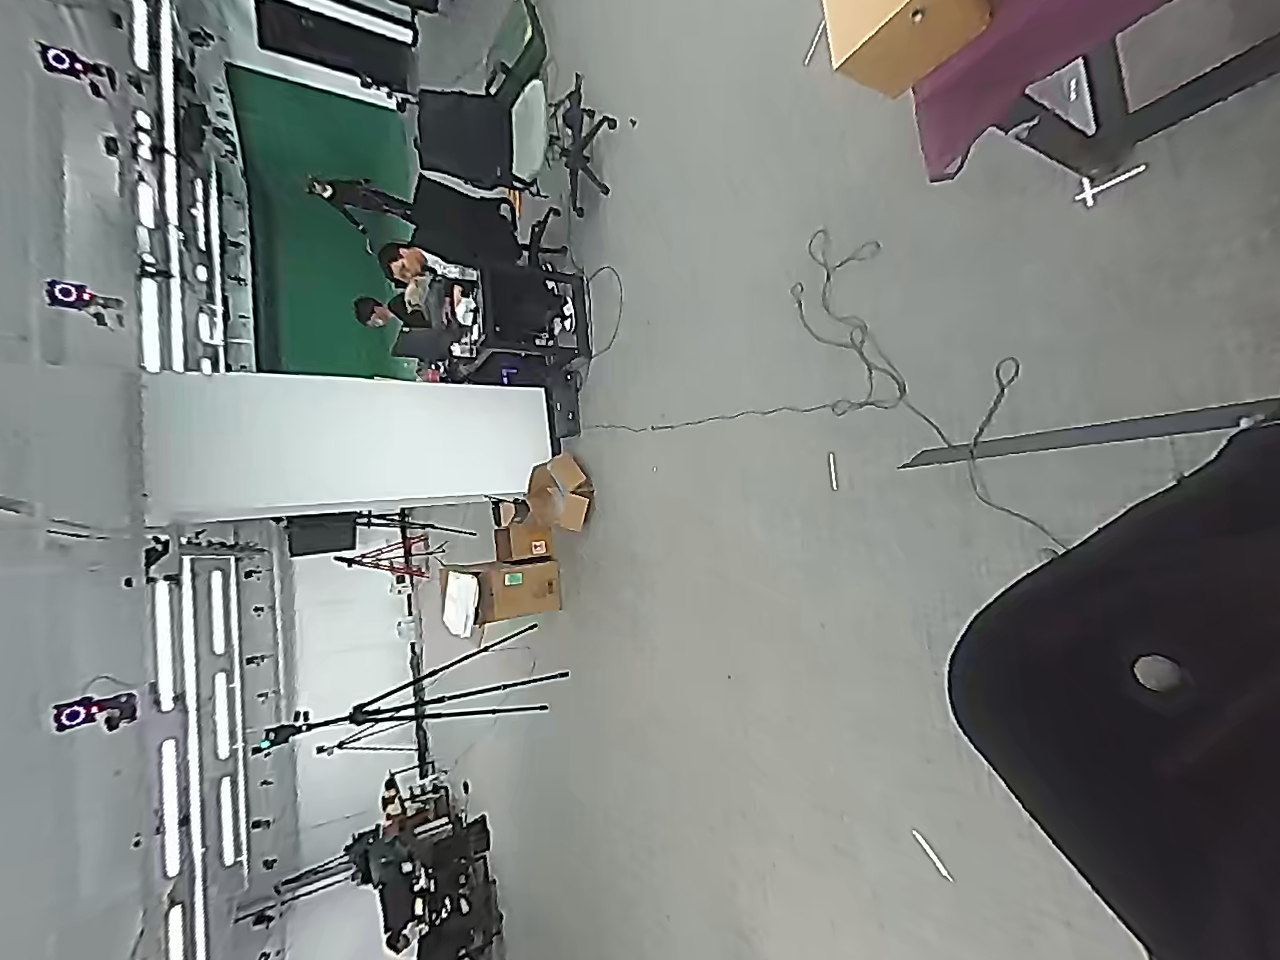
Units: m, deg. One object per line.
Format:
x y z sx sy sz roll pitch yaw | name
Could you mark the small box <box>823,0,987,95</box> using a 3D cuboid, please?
0.433 -0.792 0.897 0.179 0.176 0.168 -14 80 58 | small box
